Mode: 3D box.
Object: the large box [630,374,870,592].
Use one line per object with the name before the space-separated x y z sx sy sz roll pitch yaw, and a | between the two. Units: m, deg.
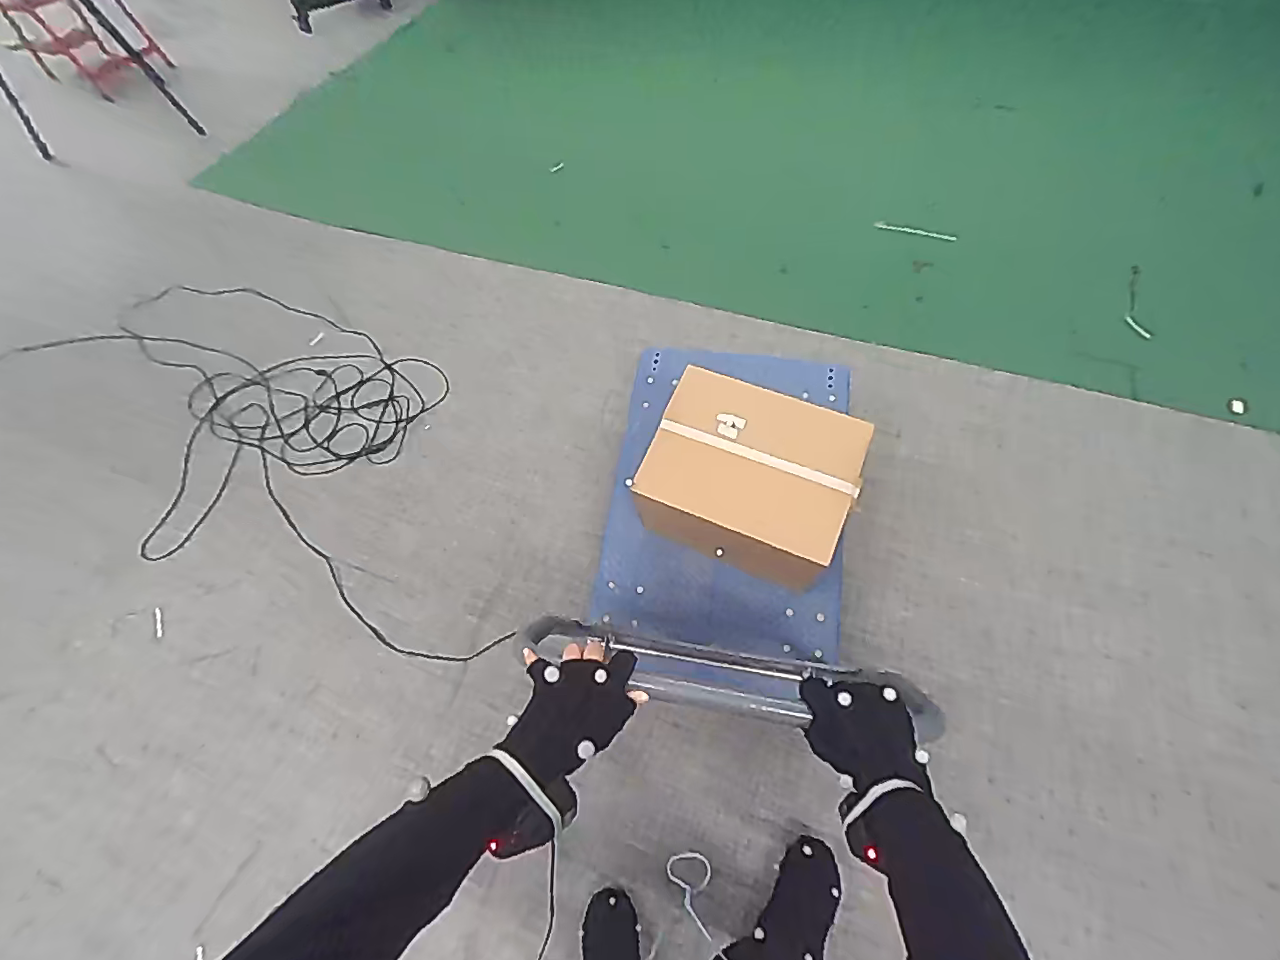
large box | 0.237 0.020 1.212 0.408 0.320 0.320 21 72 14
